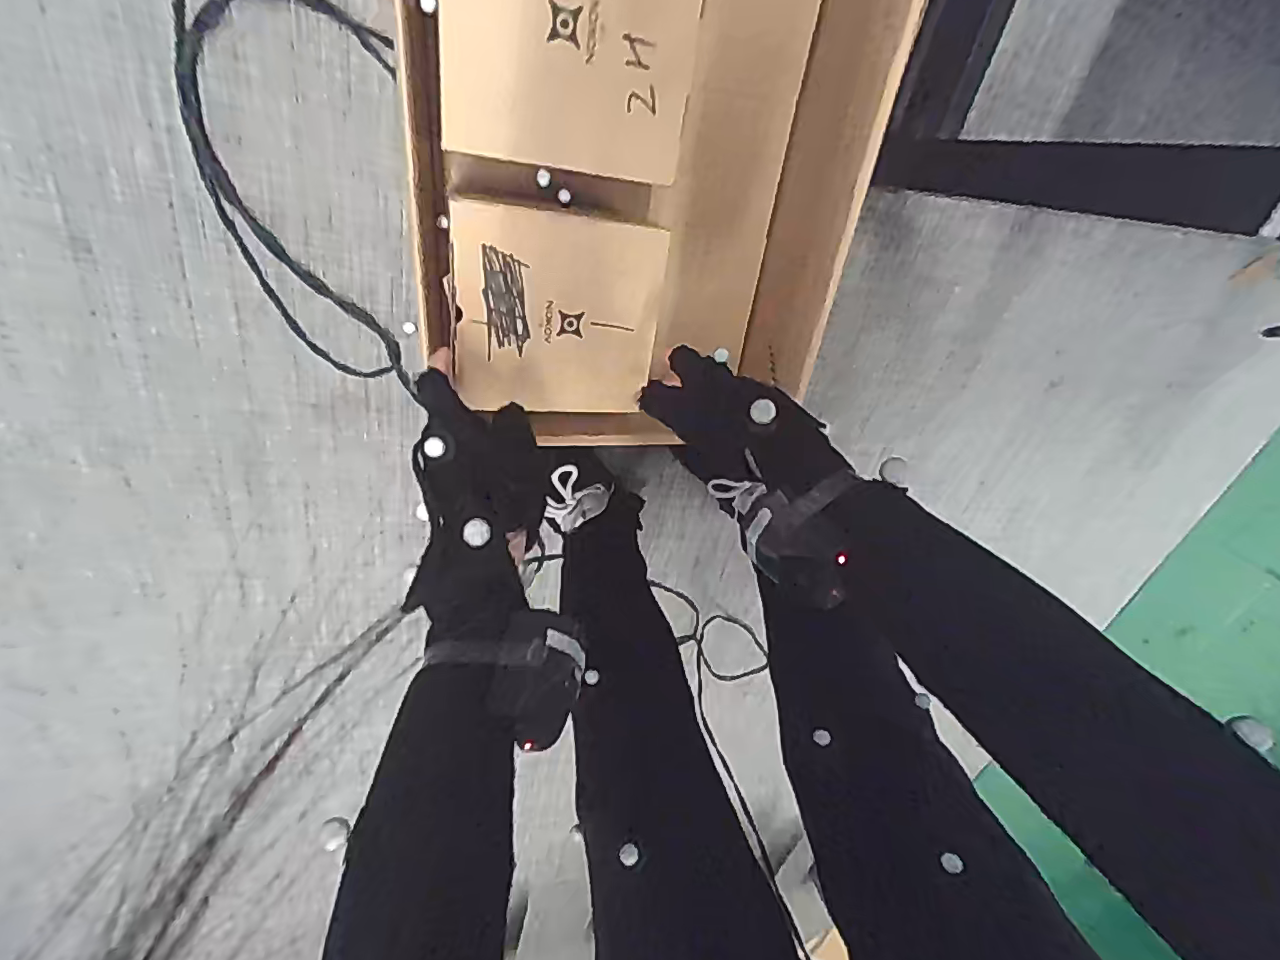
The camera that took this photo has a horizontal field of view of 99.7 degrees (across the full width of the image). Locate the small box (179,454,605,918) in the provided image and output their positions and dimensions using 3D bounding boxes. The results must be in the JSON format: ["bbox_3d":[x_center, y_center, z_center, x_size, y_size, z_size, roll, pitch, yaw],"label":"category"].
[{"bbox_3d":[-0.130,0.101,0.321,0.176,0.179,0.168,-8,124,-20],"label":"small box"}]
